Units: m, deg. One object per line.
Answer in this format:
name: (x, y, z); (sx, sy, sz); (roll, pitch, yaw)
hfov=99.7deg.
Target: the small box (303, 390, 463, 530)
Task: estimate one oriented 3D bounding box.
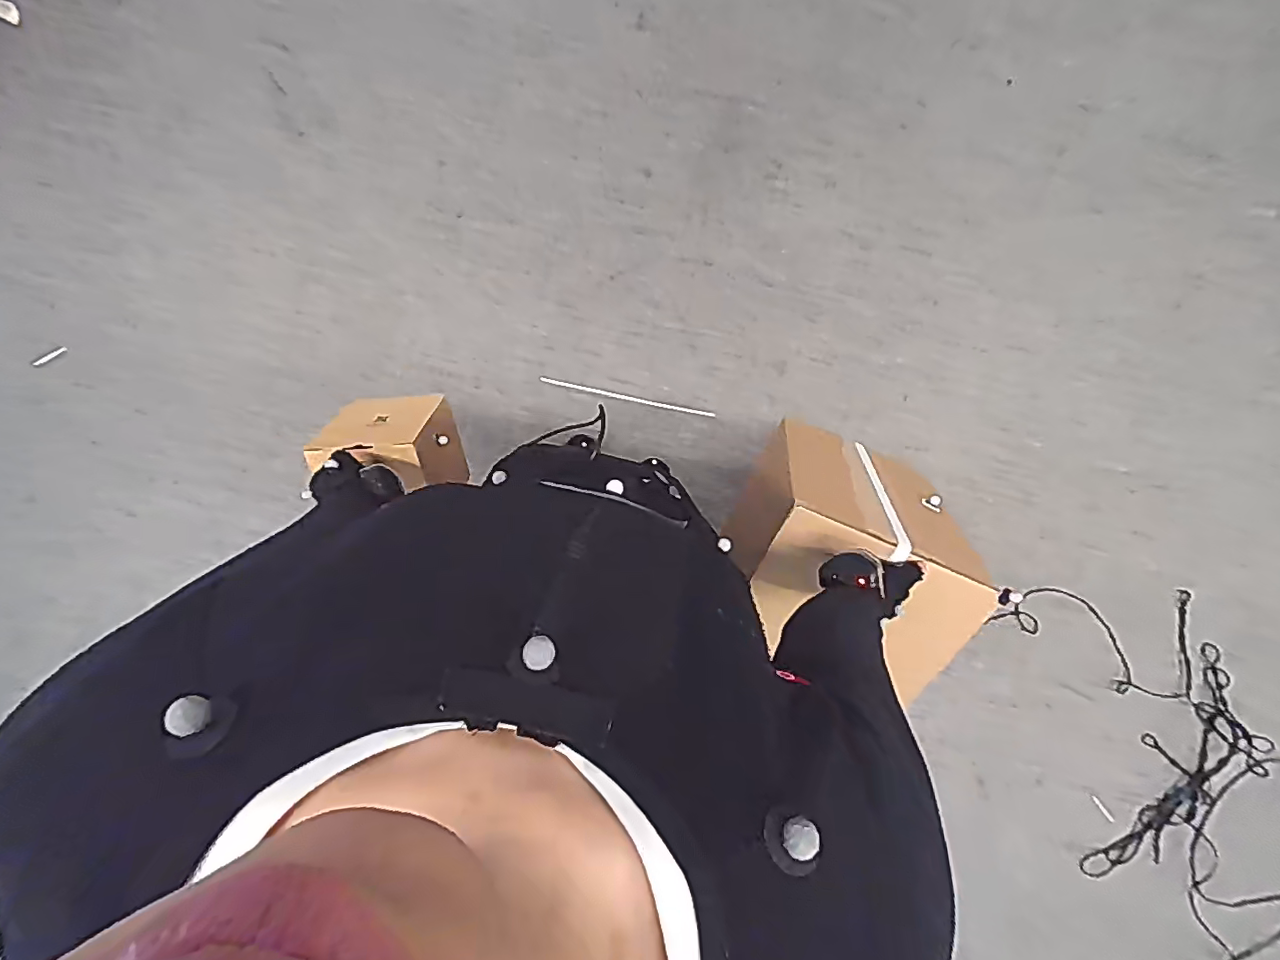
small box: (-0.408, -0.035, 0.898); (0.168, 0.179, 0.176); (-3, 124, 1)
